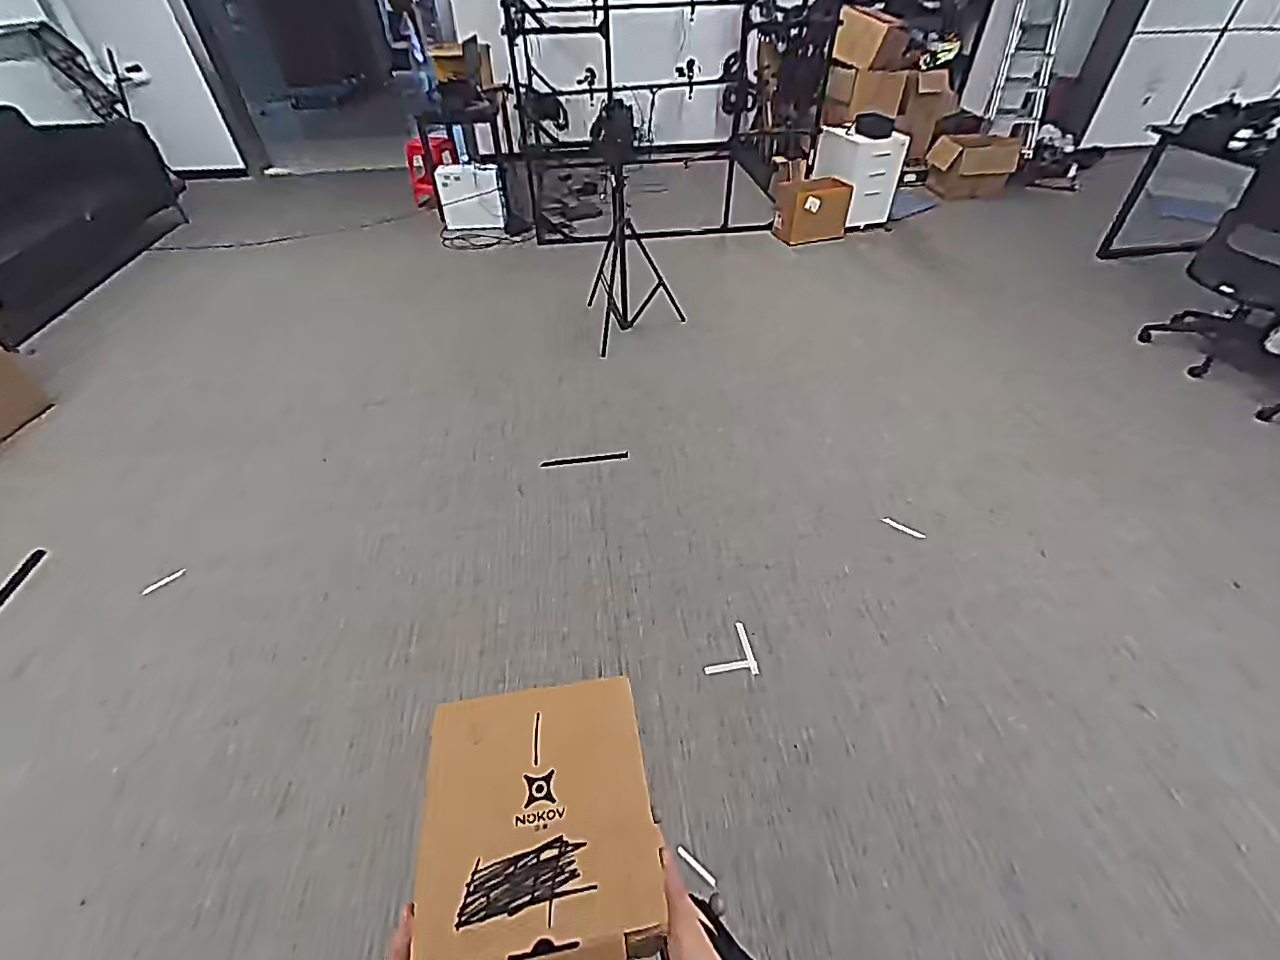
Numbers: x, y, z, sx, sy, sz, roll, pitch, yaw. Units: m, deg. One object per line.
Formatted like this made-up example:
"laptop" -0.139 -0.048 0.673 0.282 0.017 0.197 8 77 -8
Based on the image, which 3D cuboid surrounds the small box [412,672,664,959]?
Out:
"small box" -0.076 0.292 0.458 0.168 0.176 0.179 -6 44 -8
